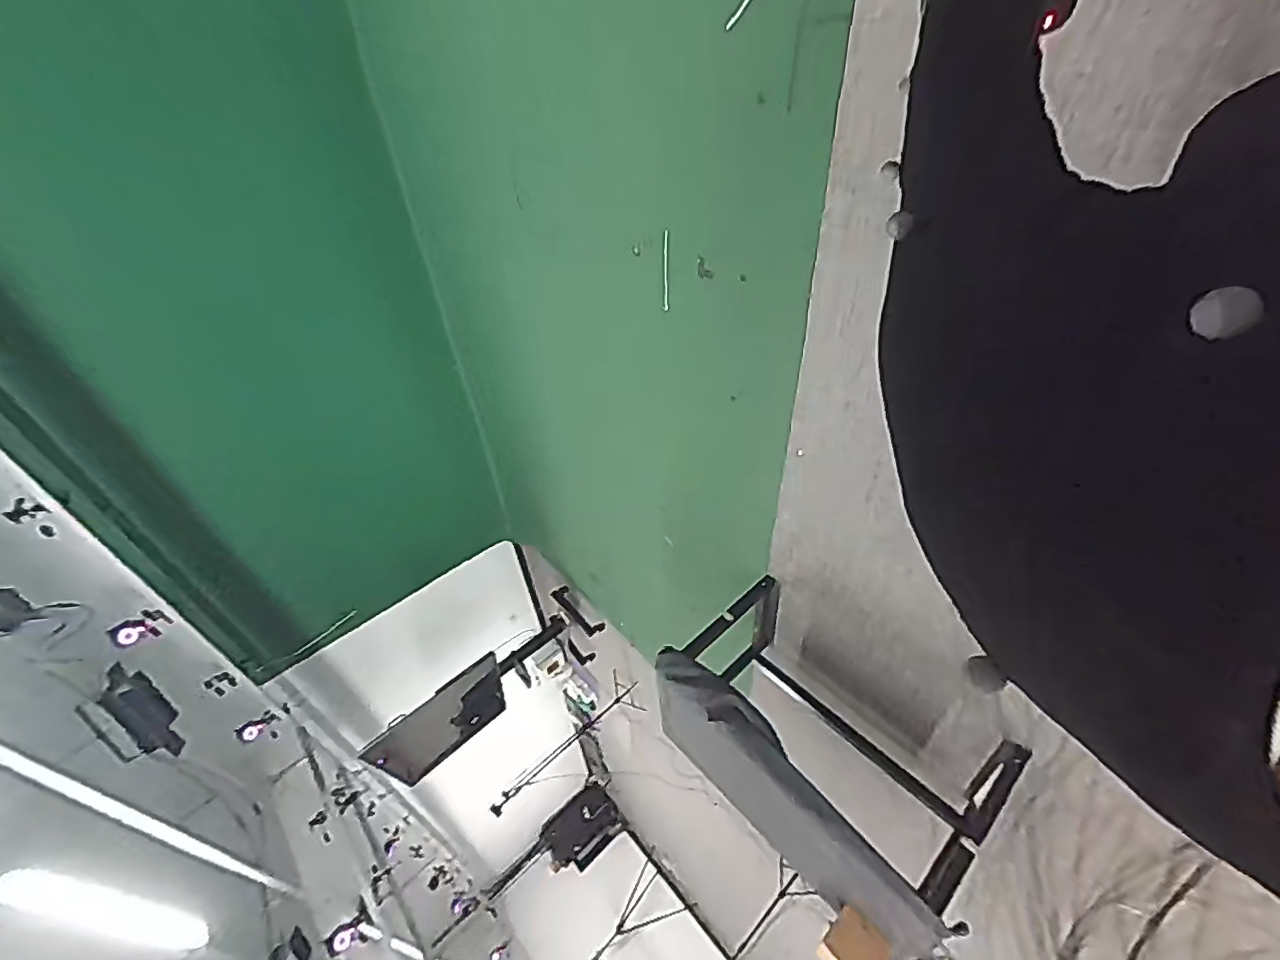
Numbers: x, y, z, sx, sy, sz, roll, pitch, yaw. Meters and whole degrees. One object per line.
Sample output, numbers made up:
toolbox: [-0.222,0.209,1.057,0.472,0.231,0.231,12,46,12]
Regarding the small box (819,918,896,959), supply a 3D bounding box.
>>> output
small box: [0.753,1.667,1.871,0.179,0.176,0.168,34,143,38]
